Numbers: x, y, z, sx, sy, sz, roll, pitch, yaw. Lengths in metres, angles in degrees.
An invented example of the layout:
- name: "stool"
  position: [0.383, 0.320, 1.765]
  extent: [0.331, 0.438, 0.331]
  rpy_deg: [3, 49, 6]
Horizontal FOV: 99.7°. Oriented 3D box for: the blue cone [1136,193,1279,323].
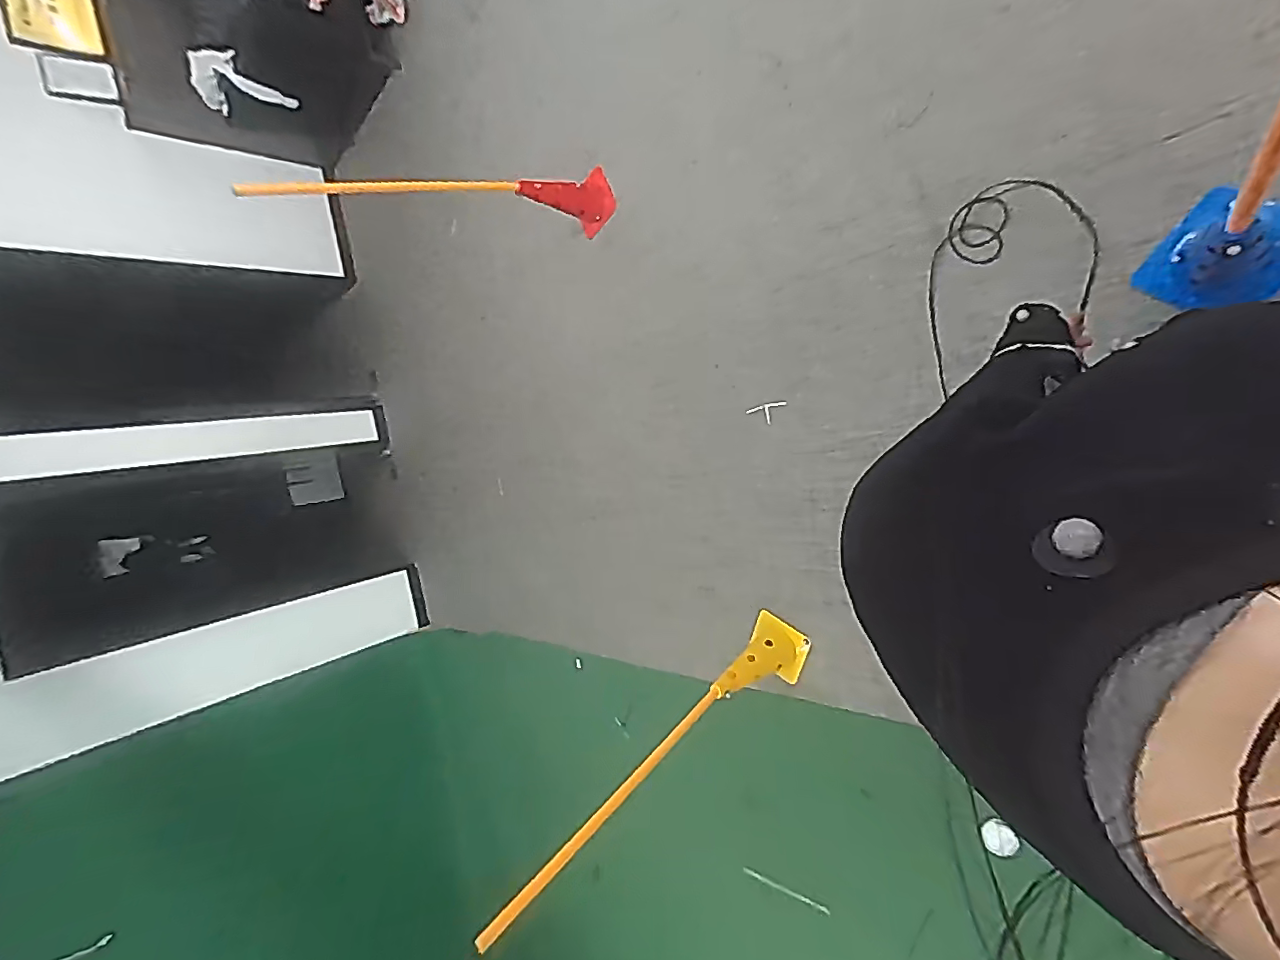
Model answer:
- name: "blue cone"
  position: [0.958, -0.388, 0.882]
  extent: [0.192, 0.380, 0.193]
  rpy_deg: [45, 126, 28]
